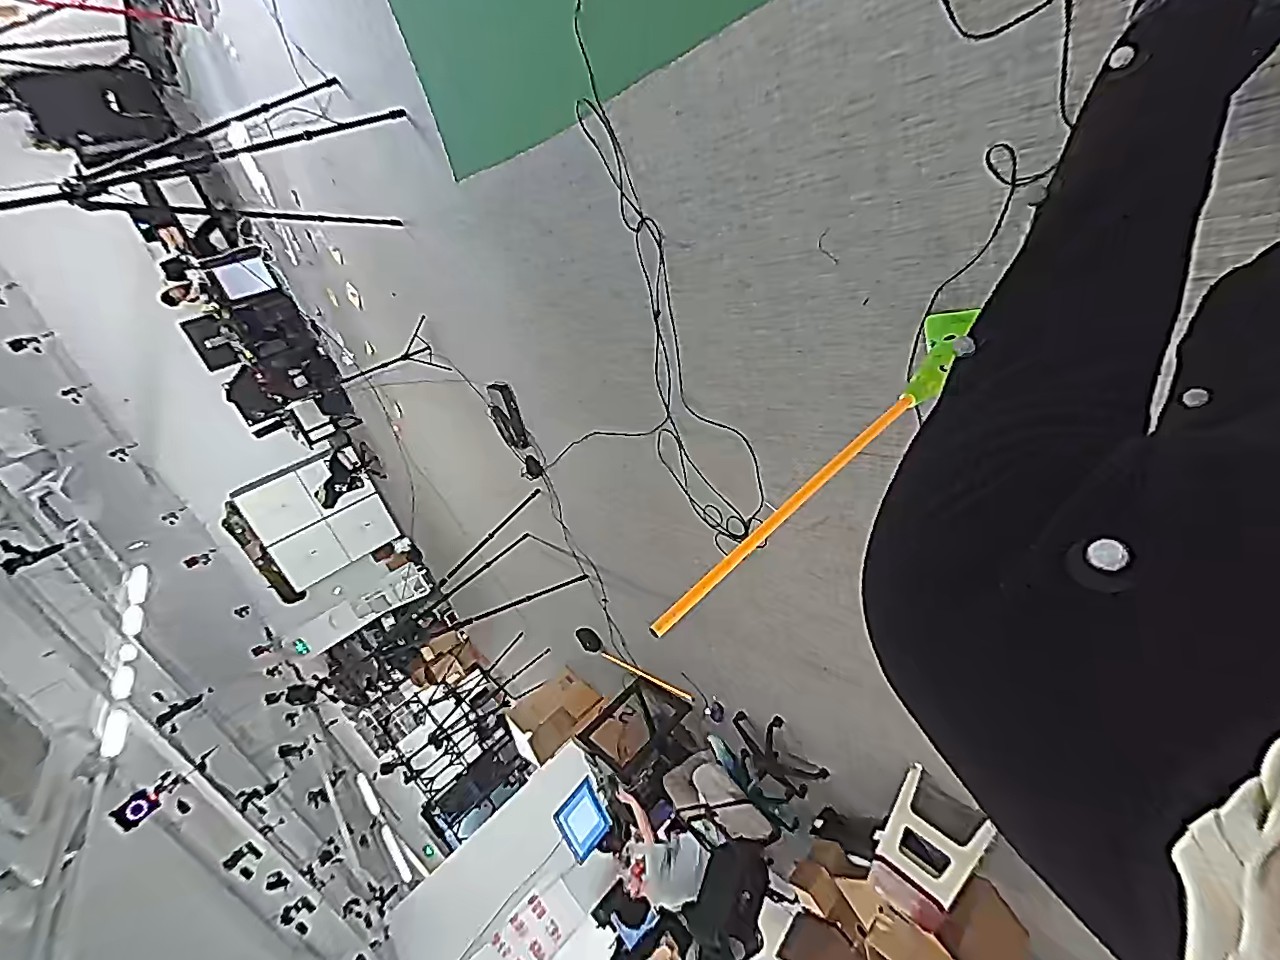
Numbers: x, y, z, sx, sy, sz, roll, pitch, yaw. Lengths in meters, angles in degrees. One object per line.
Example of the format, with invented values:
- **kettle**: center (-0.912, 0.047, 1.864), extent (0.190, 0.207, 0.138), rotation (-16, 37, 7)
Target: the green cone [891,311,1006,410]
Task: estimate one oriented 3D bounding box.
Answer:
- **green cone**: center (0.764, -0.277, 1.399), extent (0.202, 0.368, 0.200), rotation (10, 127, 52)
